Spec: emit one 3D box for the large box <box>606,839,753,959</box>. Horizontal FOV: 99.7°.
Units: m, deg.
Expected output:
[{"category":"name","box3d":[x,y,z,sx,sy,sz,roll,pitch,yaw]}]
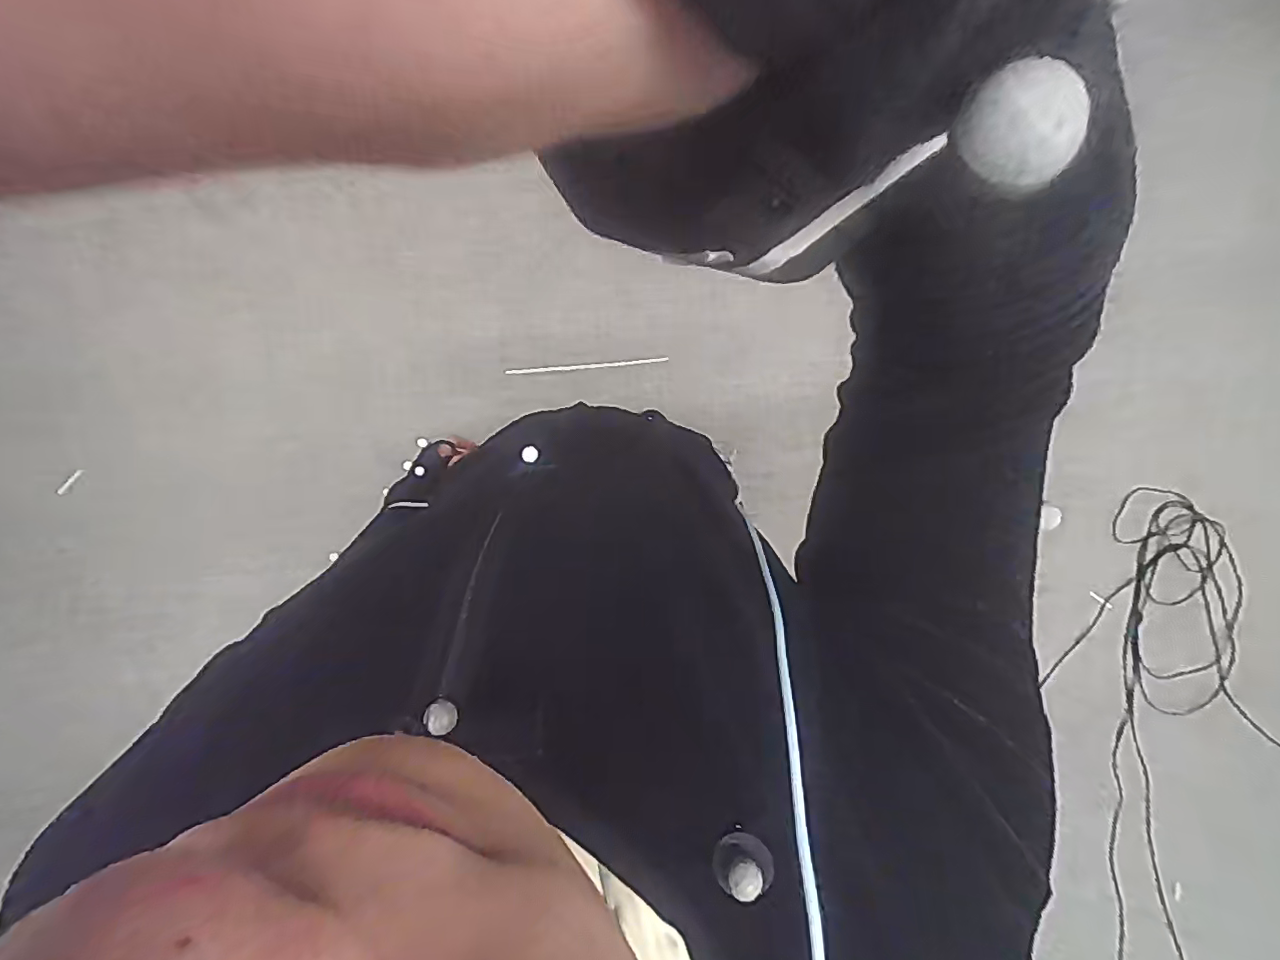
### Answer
[{"category":"large box","box3d":[0.121,1.363,1.641,0.408,0.320,0.320,-6,96,0]}]
